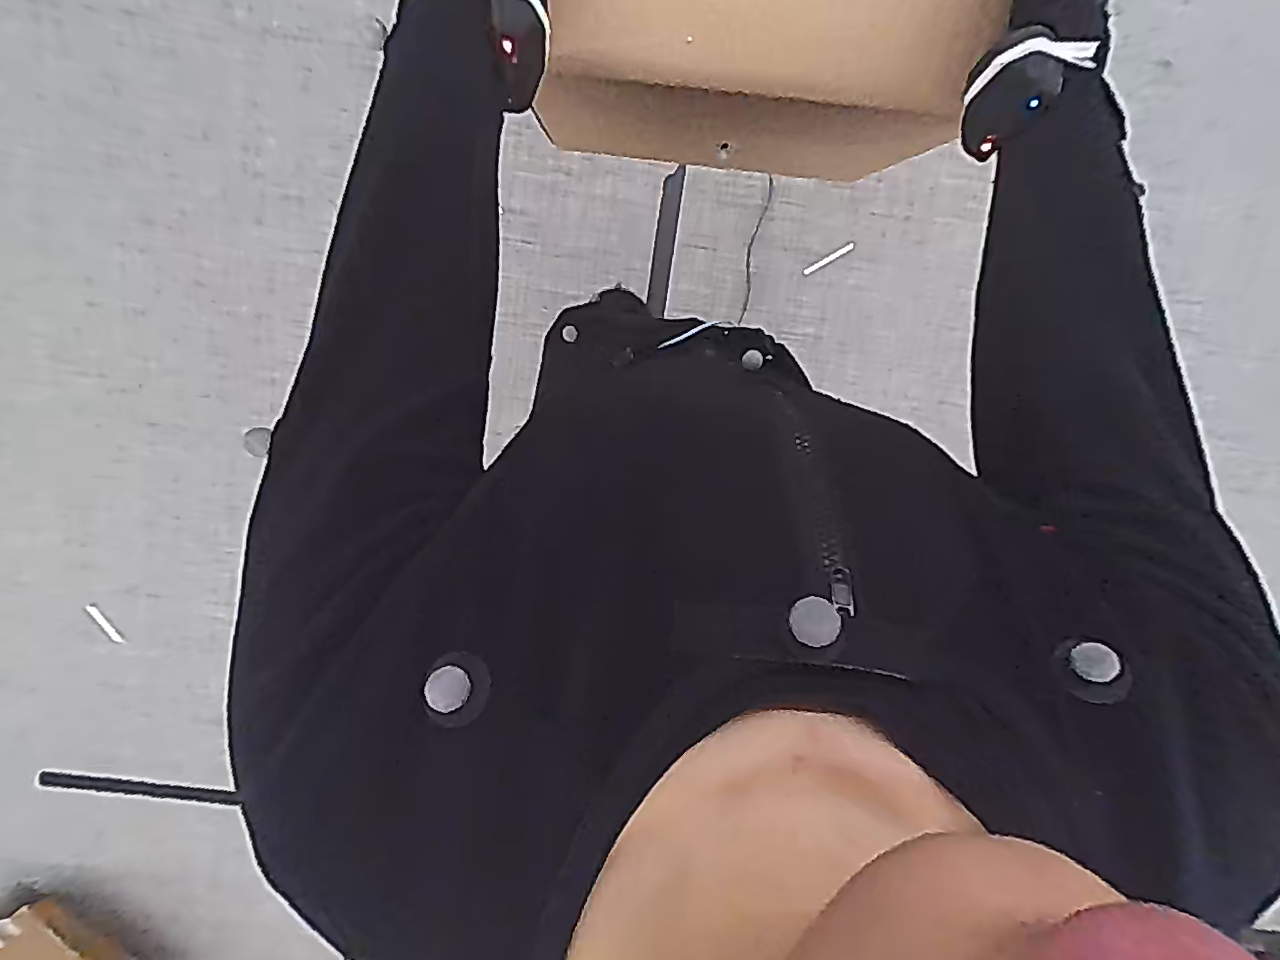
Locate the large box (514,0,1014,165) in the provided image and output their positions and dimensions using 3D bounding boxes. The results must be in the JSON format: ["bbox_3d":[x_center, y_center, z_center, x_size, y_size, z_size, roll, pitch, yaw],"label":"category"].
[{"bbox_3d":[0.107,-0.522,0.534,0.408,0.320,0.320,4,110,-2],"label":"large box"}]
